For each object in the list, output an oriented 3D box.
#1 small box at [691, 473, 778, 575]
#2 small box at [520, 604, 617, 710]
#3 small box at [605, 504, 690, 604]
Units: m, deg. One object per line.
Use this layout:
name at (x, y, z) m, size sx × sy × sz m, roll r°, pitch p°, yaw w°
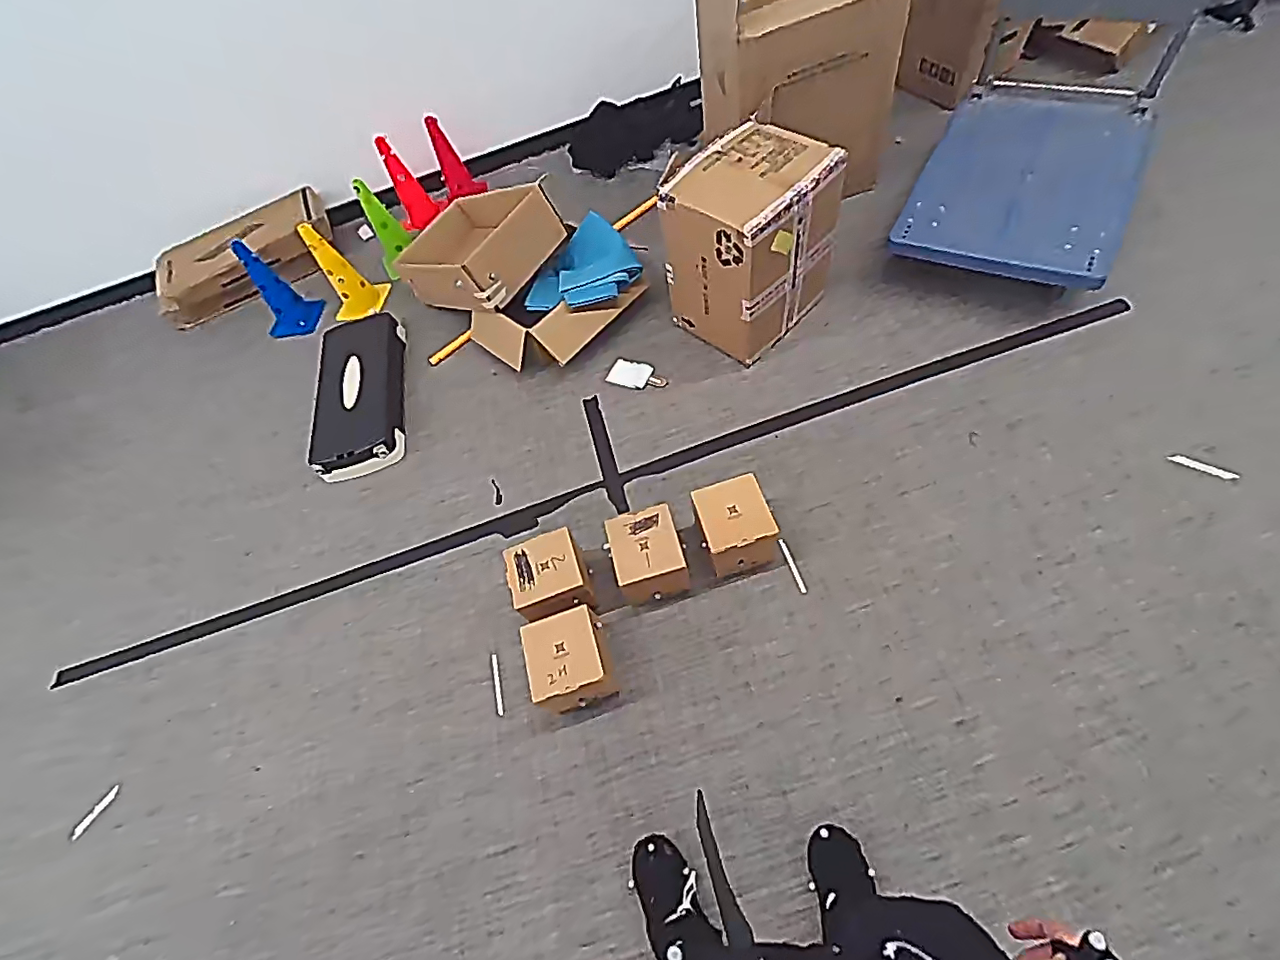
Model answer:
small box at (0.235, 0.114, 1.364) m, size 0.168 × 0.176 × 0.179 m, roll -18°, pitch 59°, yaw 0°
small box at (-0.164, 0.417, 1.263) m, size 0.168 × 0.176 × 0.179 m, roll -20°, pitch 59°, yaw 0°
small box at (0.021, 0.189, 1.360) m, size 0.168 × 0.176 × 0.179 m, roll -16°, pitch 59°, yaw 1°
